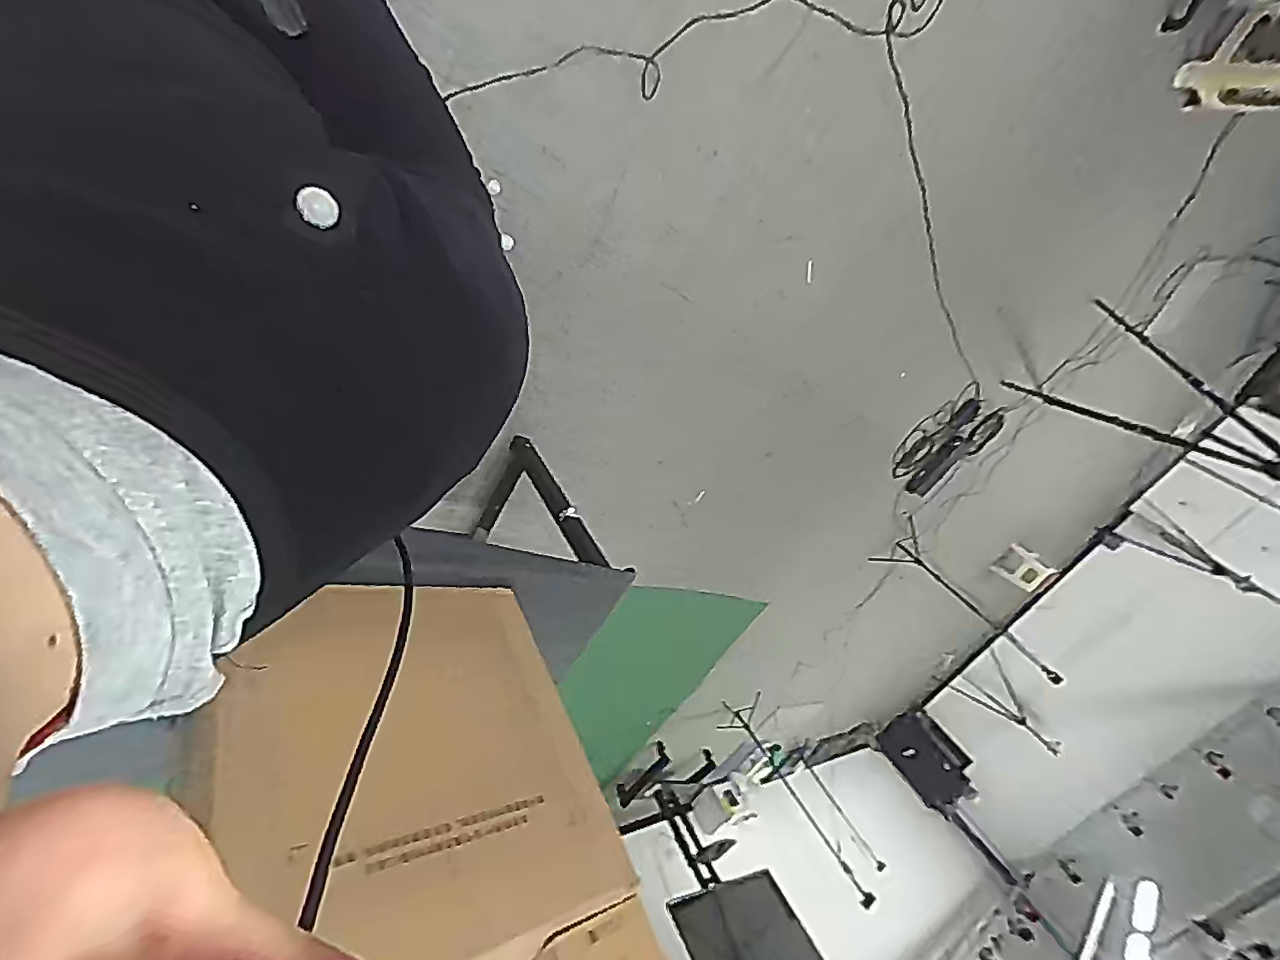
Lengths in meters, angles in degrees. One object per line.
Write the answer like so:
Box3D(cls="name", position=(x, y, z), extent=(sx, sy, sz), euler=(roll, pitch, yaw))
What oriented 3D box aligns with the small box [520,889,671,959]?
Box3D(cls="small box", position=(-0.066, 0.725, 0.765), extent=(0.168, 0.176, 0.179), euler=(12, 118, -44))
